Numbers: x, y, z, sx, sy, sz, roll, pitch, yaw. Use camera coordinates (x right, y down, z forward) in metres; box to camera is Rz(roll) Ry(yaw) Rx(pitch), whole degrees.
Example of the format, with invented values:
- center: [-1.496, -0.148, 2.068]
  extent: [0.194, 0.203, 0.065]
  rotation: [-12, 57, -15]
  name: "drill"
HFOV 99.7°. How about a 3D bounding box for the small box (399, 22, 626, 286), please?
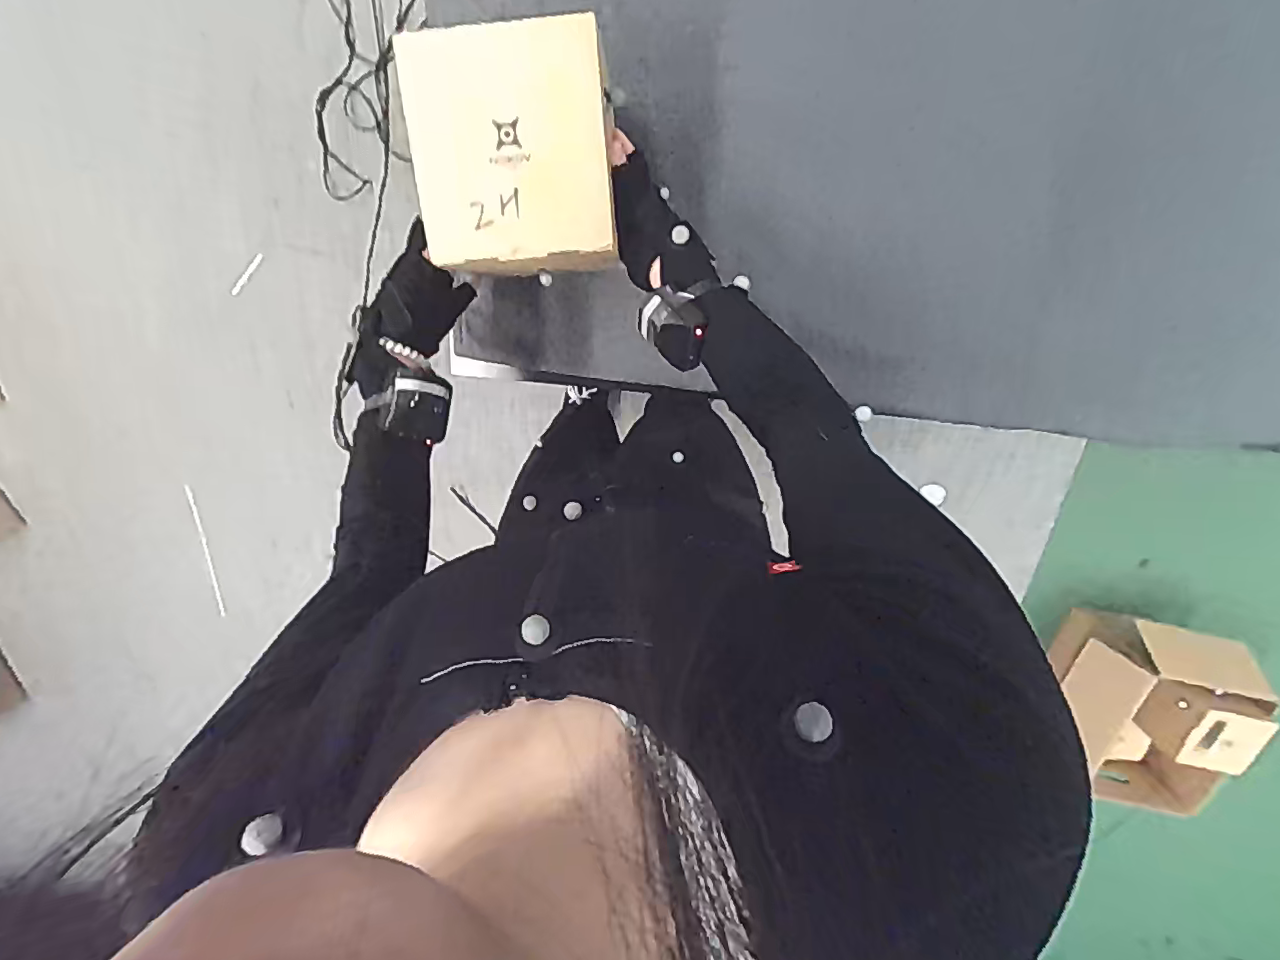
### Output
- center: [-0.105, -0.294, 0.529]
  extent: [0.168, 0.176, 0.179]
  rotation: [-4, 106, 4]
  name: "small box"
